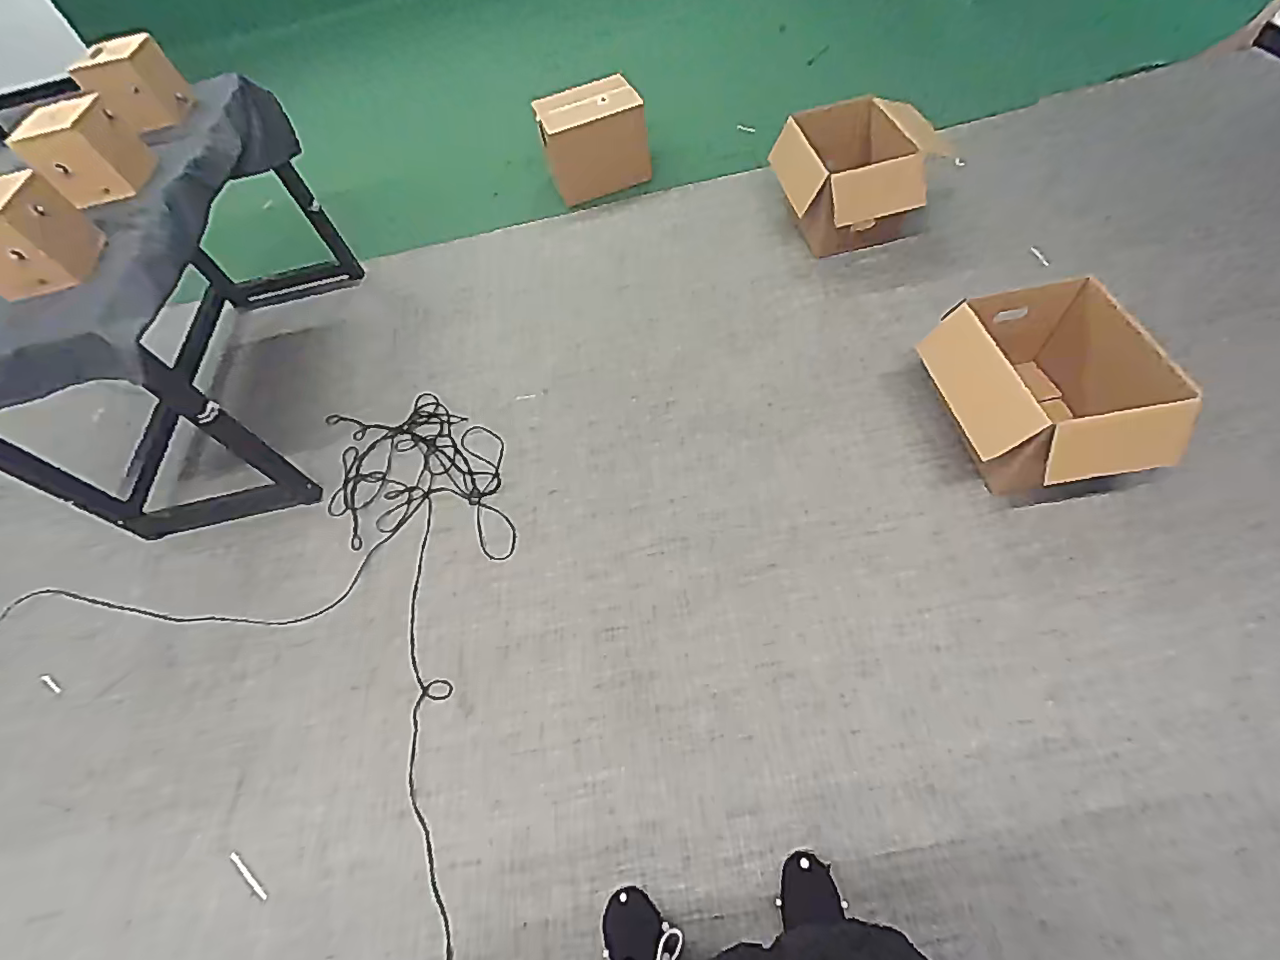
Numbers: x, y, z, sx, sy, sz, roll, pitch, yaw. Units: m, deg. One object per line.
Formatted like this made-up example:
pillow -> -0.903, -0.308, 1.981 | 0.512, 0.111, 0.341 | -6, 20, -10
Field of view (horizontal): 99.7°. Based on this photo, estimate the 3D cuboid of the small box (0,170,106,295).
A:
small box -> -1.306, -0.514, 1.146 | 0.168, 0.176, 0.179 | -12, 55, 0

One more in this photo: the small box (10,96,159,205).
small box -> -1.361, -0.808, 1.343 | 0.168, 0.176, 0.179 | -12, 56, 2
